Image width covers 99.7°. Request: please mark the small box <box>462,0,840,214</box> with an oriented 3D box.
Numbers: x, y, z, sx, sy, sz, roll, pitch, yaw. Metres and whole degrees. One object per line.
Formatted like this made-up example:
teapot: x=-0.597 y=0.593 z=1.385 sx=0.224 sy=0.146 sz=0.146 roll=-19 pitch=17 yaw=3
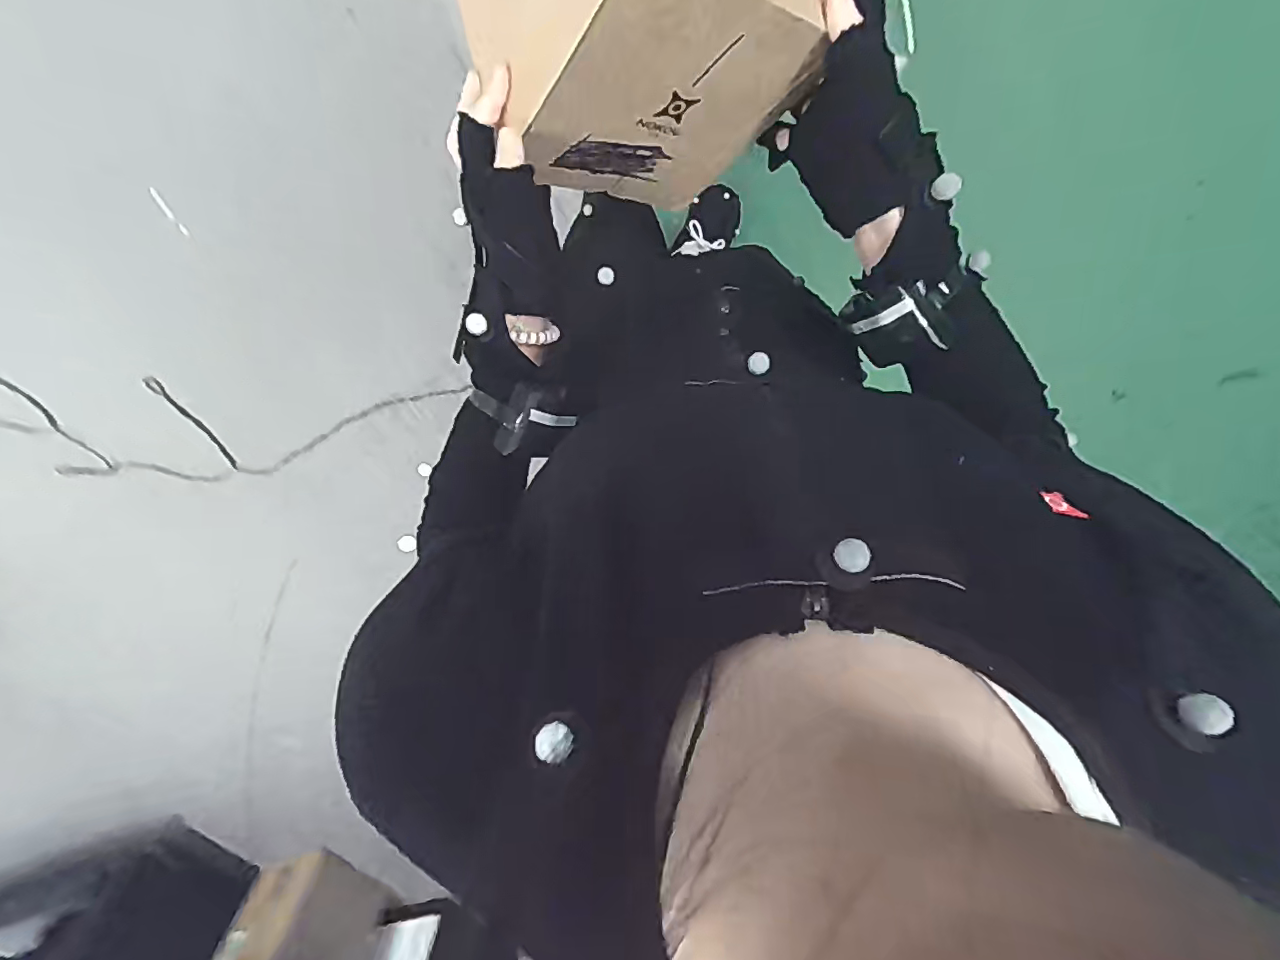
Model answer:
small box: x=-0.006 y=-0.312 z=0.353 sx=0.179 sy=0.168 sz=0.176 roll=-20 pitch=83 yaw=54
